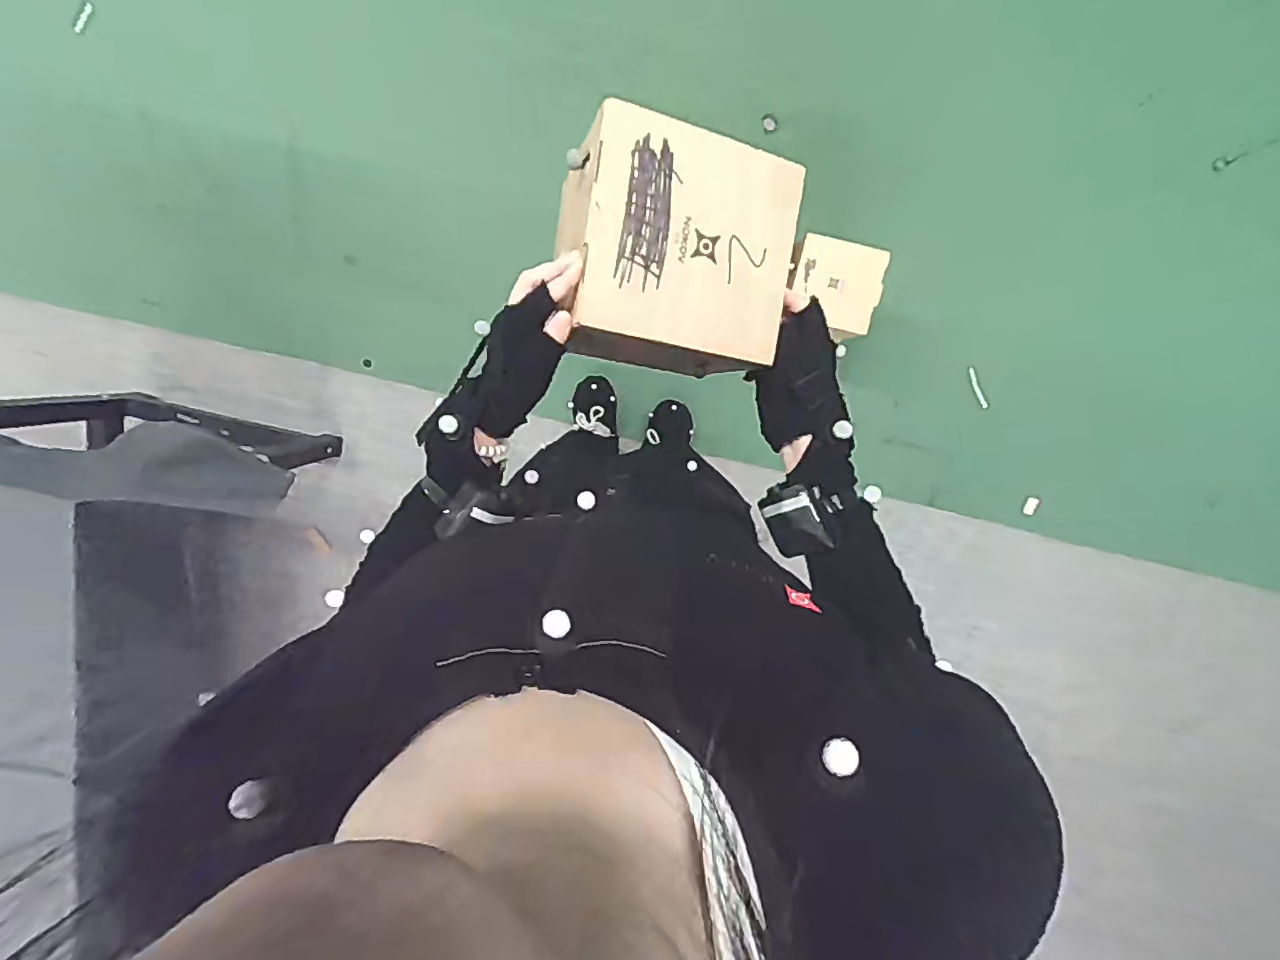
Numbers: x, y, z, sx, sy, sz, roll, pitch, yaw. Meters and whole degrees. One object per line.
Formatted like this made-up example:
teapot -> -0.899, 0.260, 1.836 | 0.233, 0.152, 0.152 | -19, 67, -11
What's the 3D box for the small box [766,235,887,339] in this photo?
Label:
small box -> 0.392, -0.407, 1.168 | 0.179, 0.176, 0.168 | 14, 102, -2
